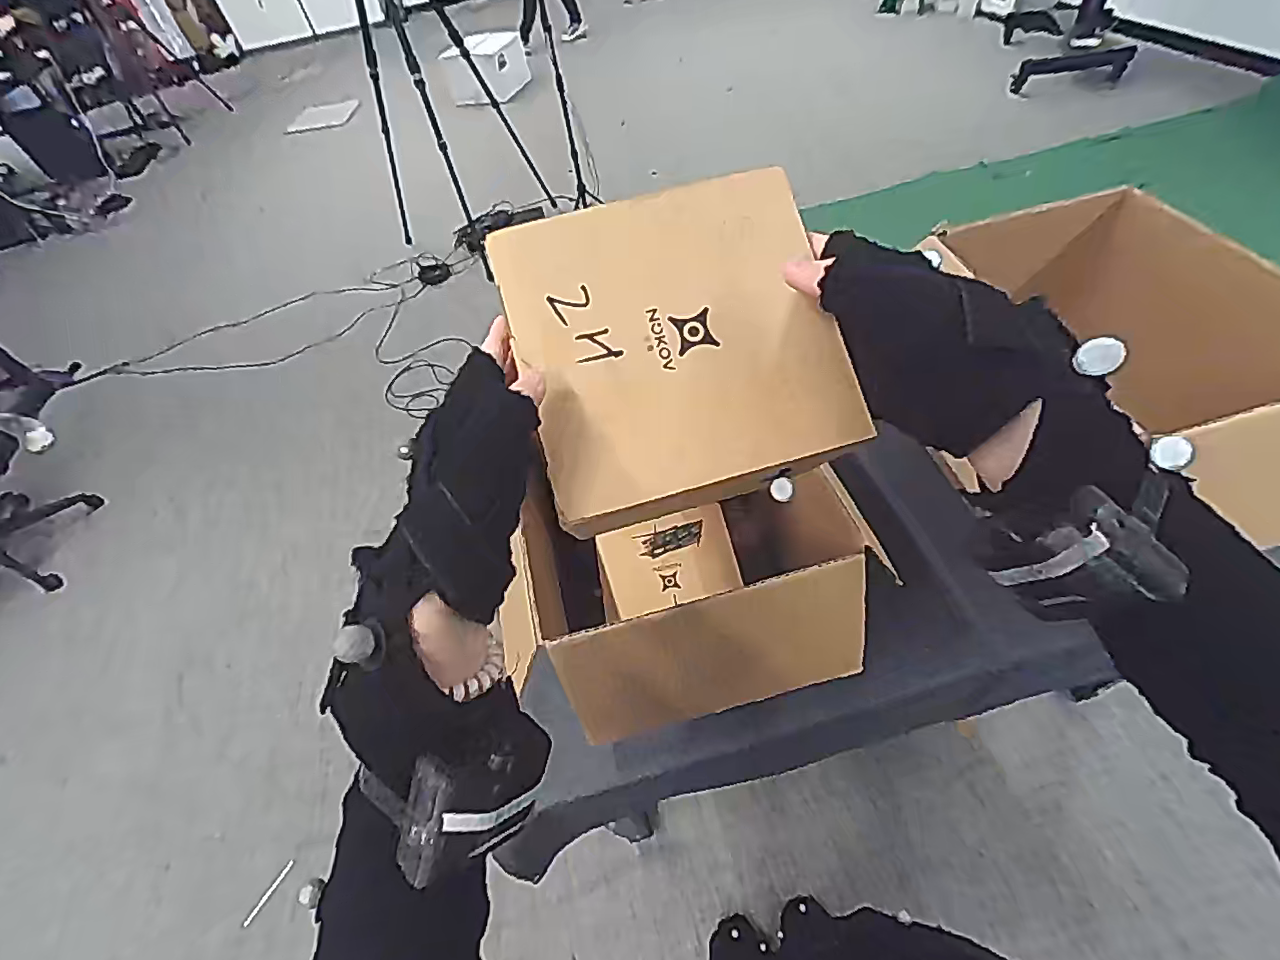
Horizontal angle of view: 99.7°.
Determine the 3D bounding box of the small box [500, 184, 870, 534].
[{"bbox_3d":[0.019,-0.063,0.375,0.179,0.176,0.168,-14,82,-5],"label":"small box"}]
